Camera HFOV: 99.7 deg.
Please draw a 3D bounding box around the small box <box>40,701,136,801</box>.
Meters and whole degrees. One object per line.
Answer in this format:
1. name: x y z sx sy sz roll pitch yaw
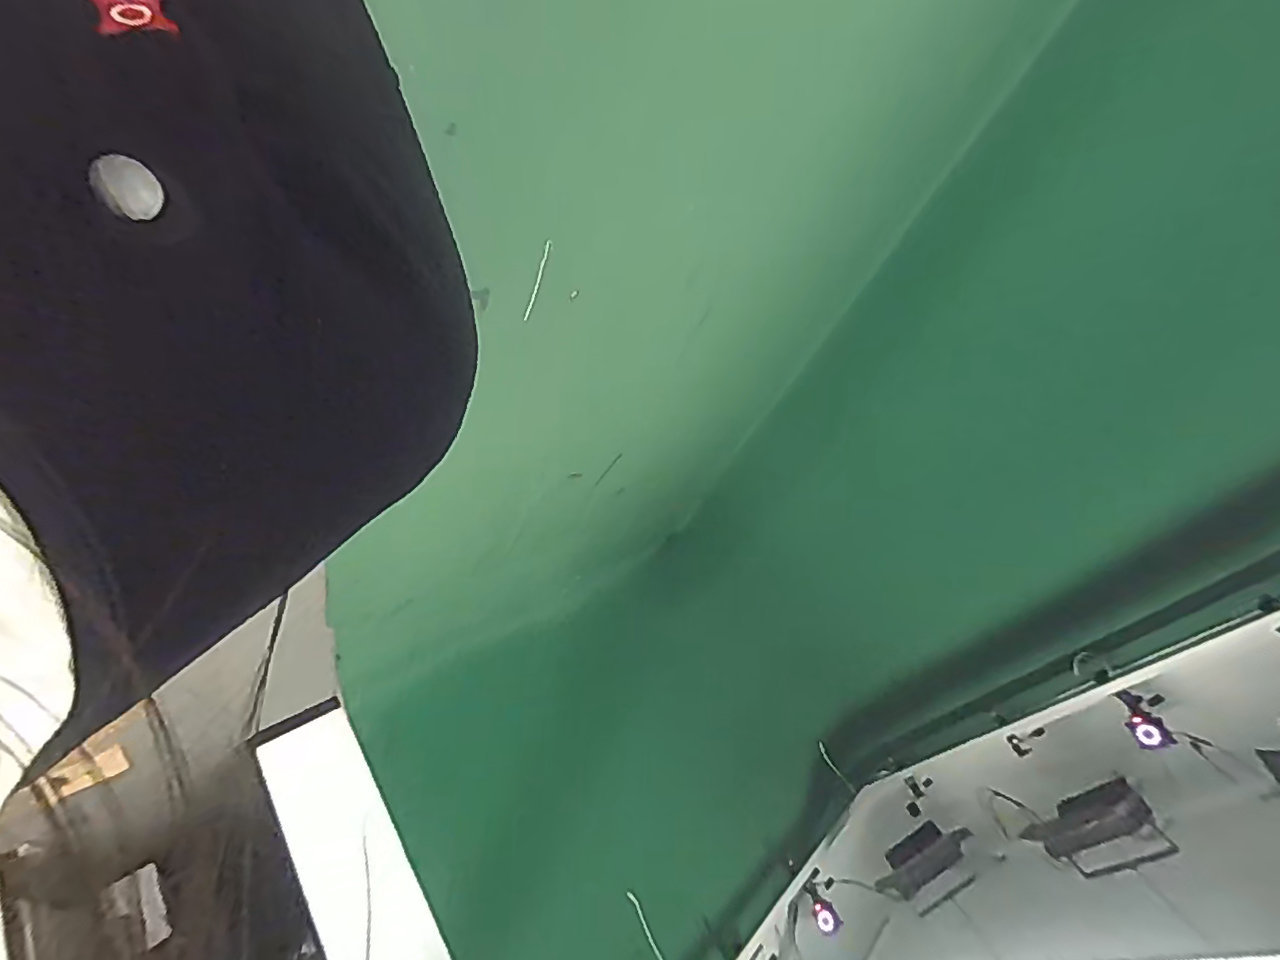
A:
1. small box: -1.640 0.800 1.606 0.179 0.176 0.168 -15 143 -46
